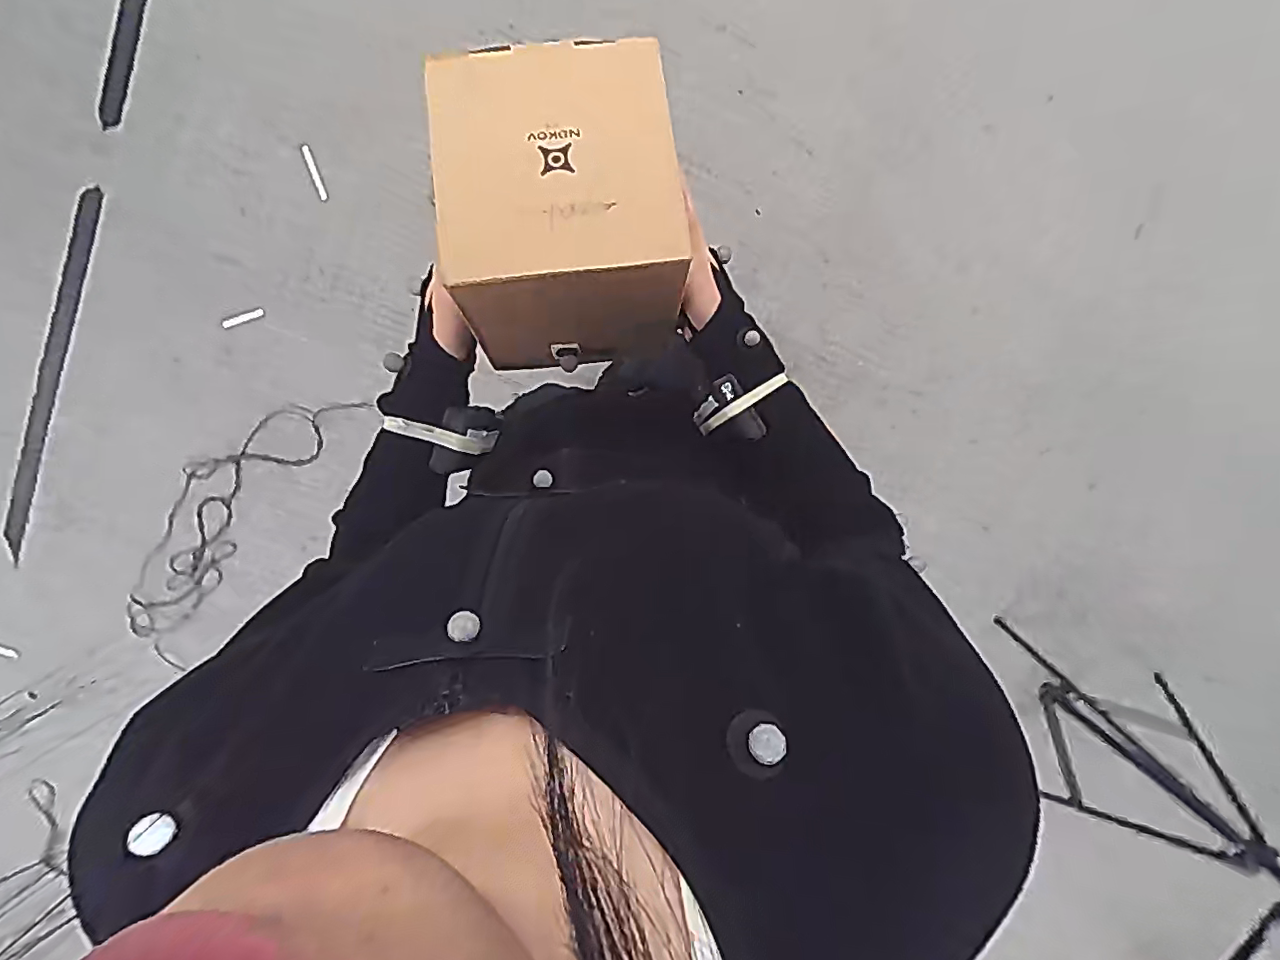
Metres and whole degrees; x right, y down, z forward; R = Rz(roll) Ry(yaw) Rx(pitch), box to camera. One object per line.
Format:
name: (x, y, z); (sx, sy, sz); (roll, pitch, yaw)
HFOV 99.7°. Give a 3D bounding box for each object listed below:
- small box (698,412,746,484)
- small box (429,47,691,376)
small box: (0.267, -0.061, 1.426); (0.168, 0.176, 0.179); (28, 100, -9)
small box: (-0.061, -0.205, 0.451); (0.168, 0.176, 0.179); (-8, 82, -4)
